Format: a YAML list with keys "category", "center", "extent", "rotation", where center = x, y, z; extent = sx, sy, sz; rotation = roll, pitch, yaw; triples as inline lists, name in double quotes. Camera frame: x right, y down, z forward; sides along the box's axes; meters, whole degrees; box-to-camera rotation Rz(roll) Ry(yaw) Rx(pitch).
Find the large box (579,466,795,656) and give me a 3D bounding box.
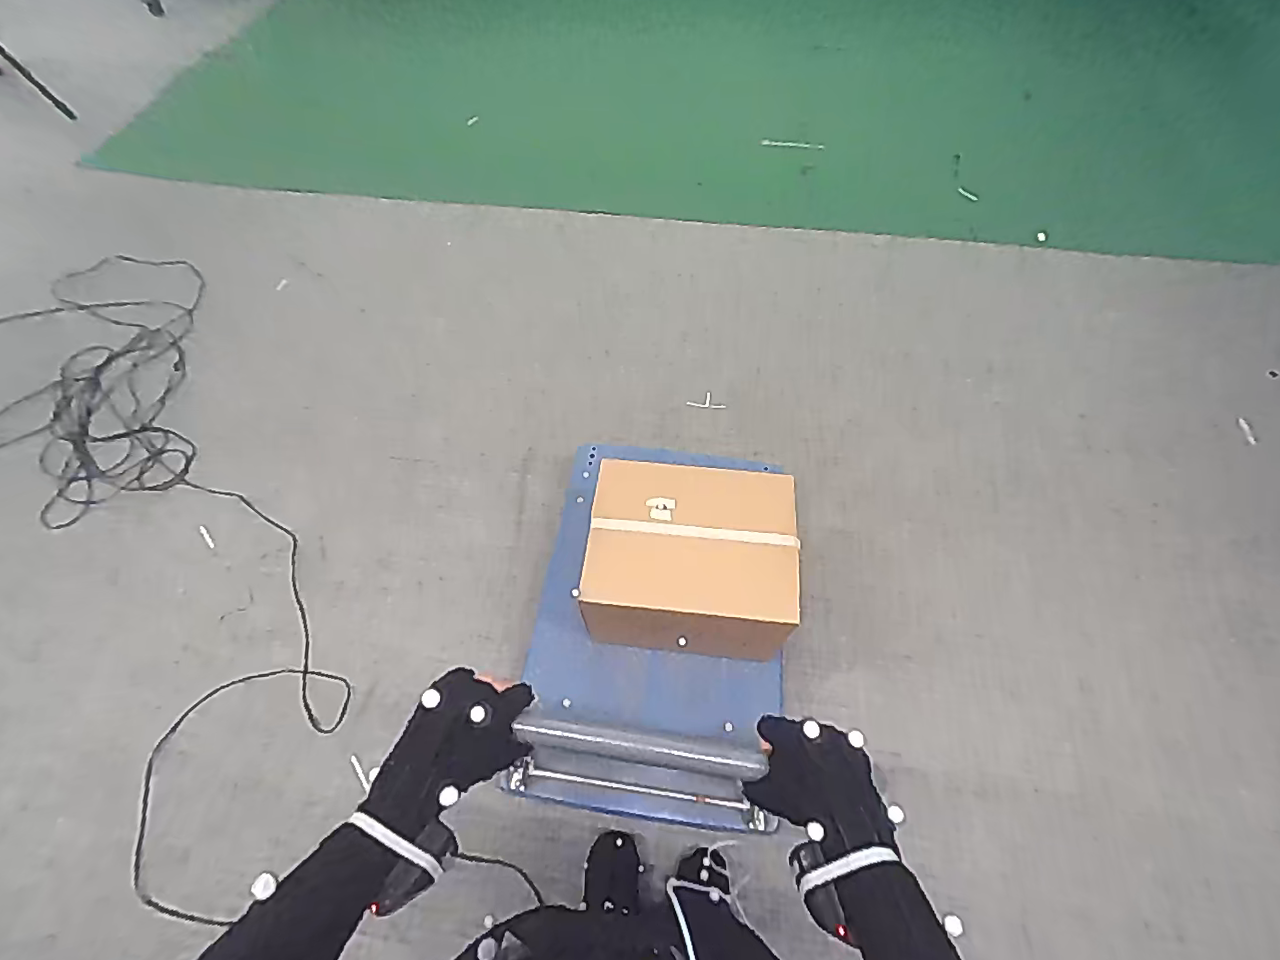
- category: "large box"
  center: [0.104, 0.188, 1.193]
  extent: [0.408, 0.320, 0.320]
  rotation: [5, 59, 5]
